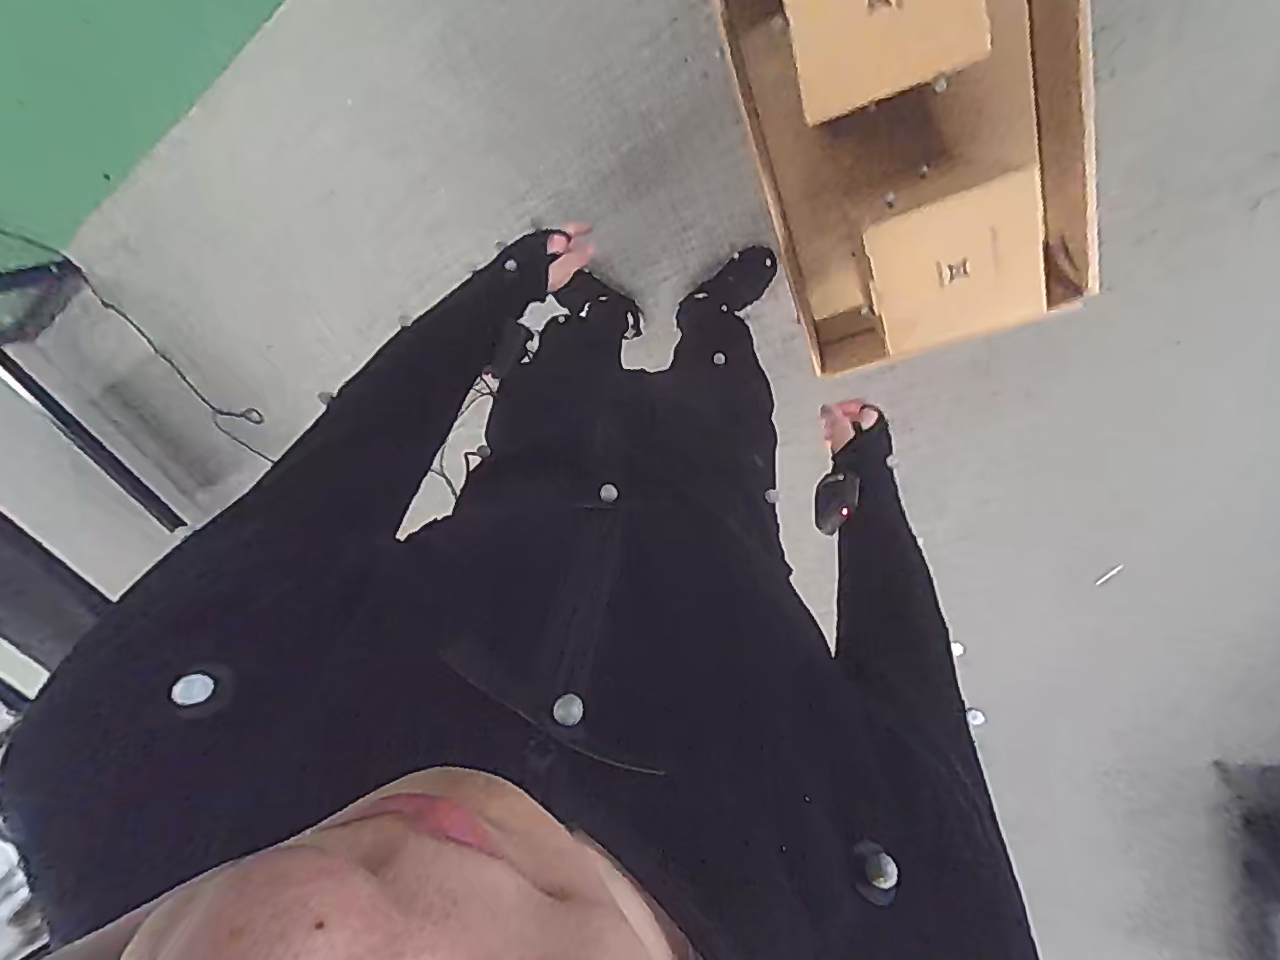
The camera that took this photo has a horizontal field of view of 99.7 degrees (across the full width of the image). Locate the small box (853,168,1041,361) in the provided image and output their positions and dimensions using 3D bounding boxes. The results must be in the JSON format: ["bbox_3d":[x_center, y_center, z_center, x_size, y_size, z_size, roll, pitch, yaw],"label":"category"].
[{"bbox_3d":[0.383,-0.280,0.699,0.179,0.176,0.168,-13,119,22],"label":"small box"}]

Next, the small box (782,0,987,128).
[{"bbox_3d":[0.253,-0.504,0.589,0.179,0.176,0.168,-11,119,20],"label":"small box"}]
